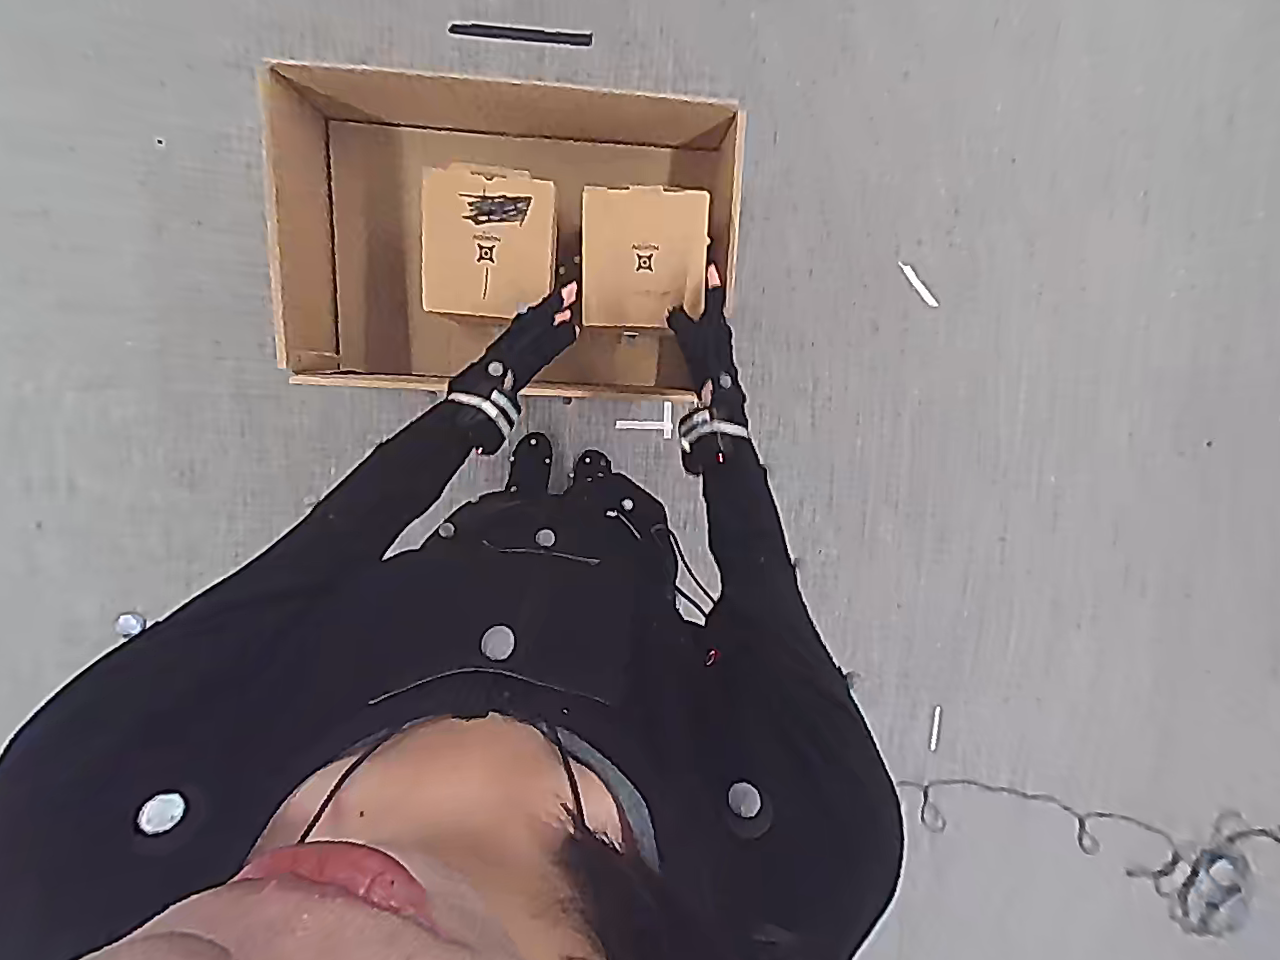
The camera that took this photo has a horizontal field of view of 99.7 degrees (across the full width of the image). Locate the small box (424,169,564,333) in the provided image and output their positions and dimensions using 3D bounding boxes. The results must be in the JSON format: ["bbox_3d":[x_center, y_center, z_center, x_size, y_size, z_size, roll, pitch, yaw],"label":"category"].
[{"bbox_3d":[-0.199,-0.313,0.774,0.168,0.176,0.179,4,101,-4],"label":"small box"}]
